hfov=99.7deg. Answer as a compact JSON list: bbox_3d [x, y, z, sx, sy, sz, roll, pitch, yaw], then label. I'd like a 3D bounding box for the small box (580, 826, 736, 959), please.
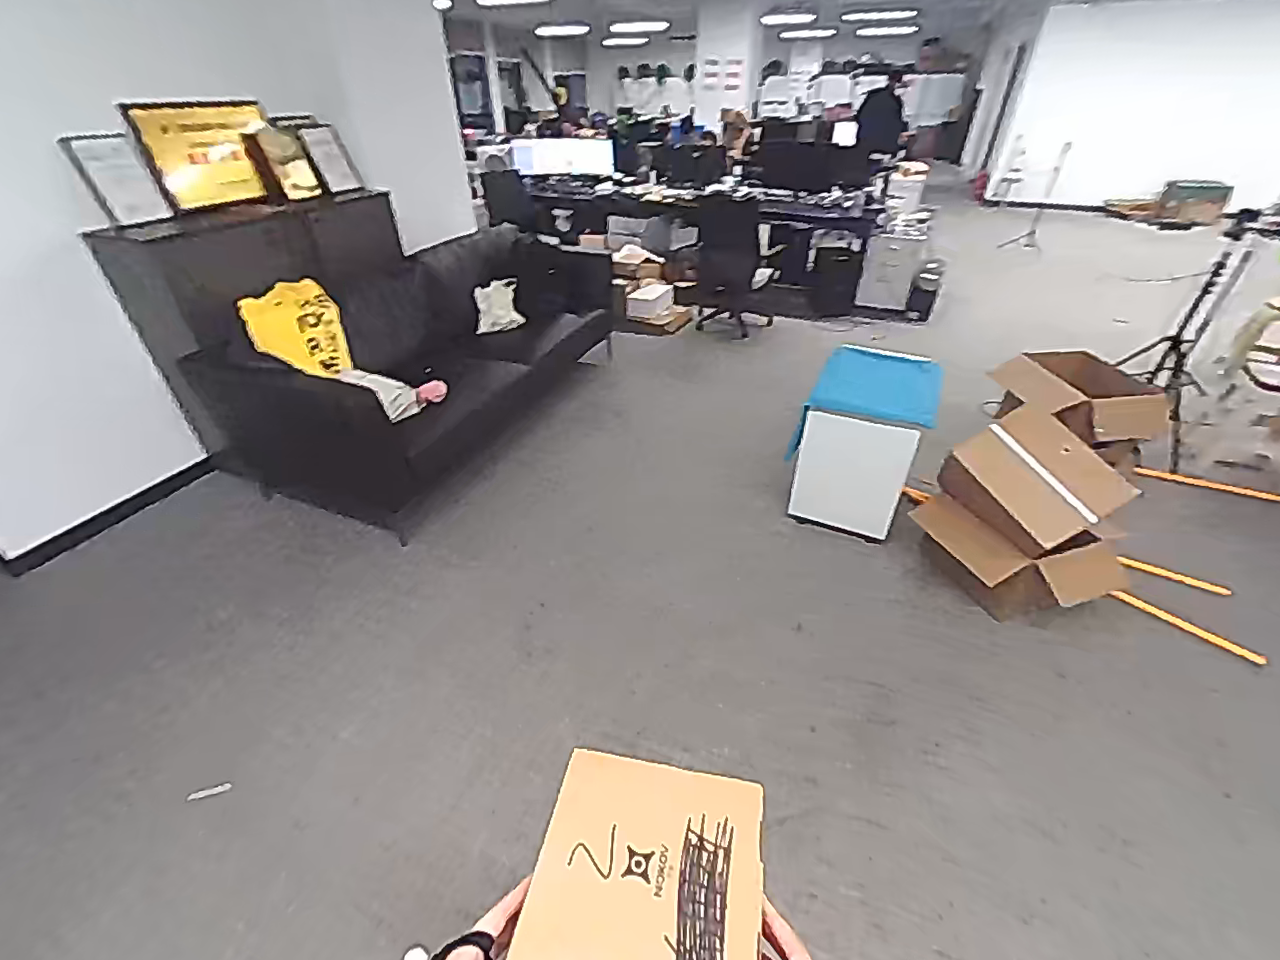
[{"bbox_3d":[0.031,0.636,0.754,0.168,0.176,0.179,10,38,18],"label":"small box"}]
